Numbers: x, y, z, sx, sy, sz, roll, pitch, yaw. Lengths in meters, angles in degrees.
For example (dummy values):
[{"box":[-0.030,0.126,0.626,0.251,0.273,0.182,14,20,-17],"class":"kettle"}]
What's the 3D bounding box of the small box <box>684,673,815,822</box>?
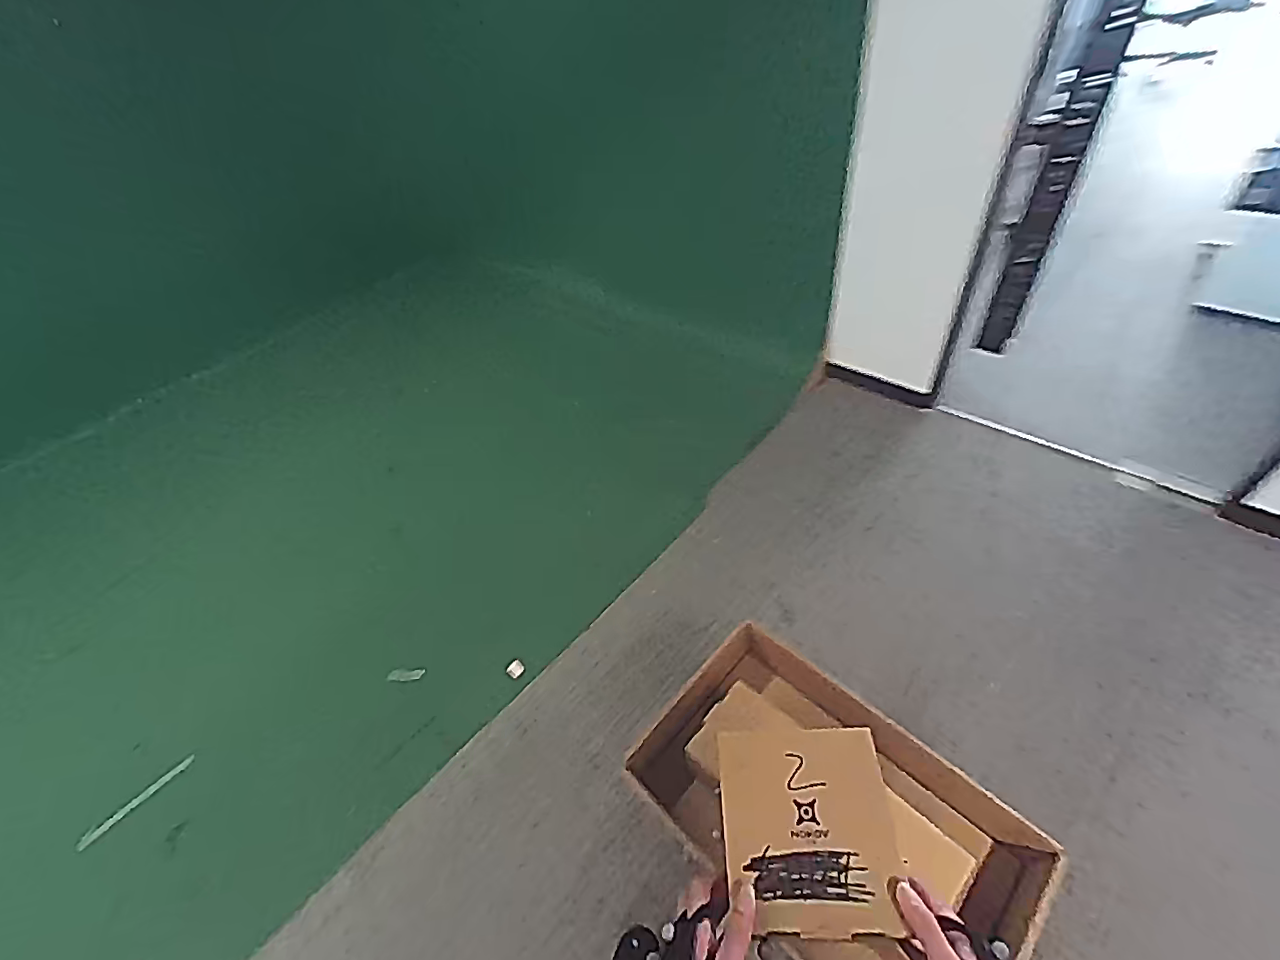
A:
[{"box":[0.203,0.512,1.027,0.179,0.176,0.168,33,62,31],"class":"small box"}]
